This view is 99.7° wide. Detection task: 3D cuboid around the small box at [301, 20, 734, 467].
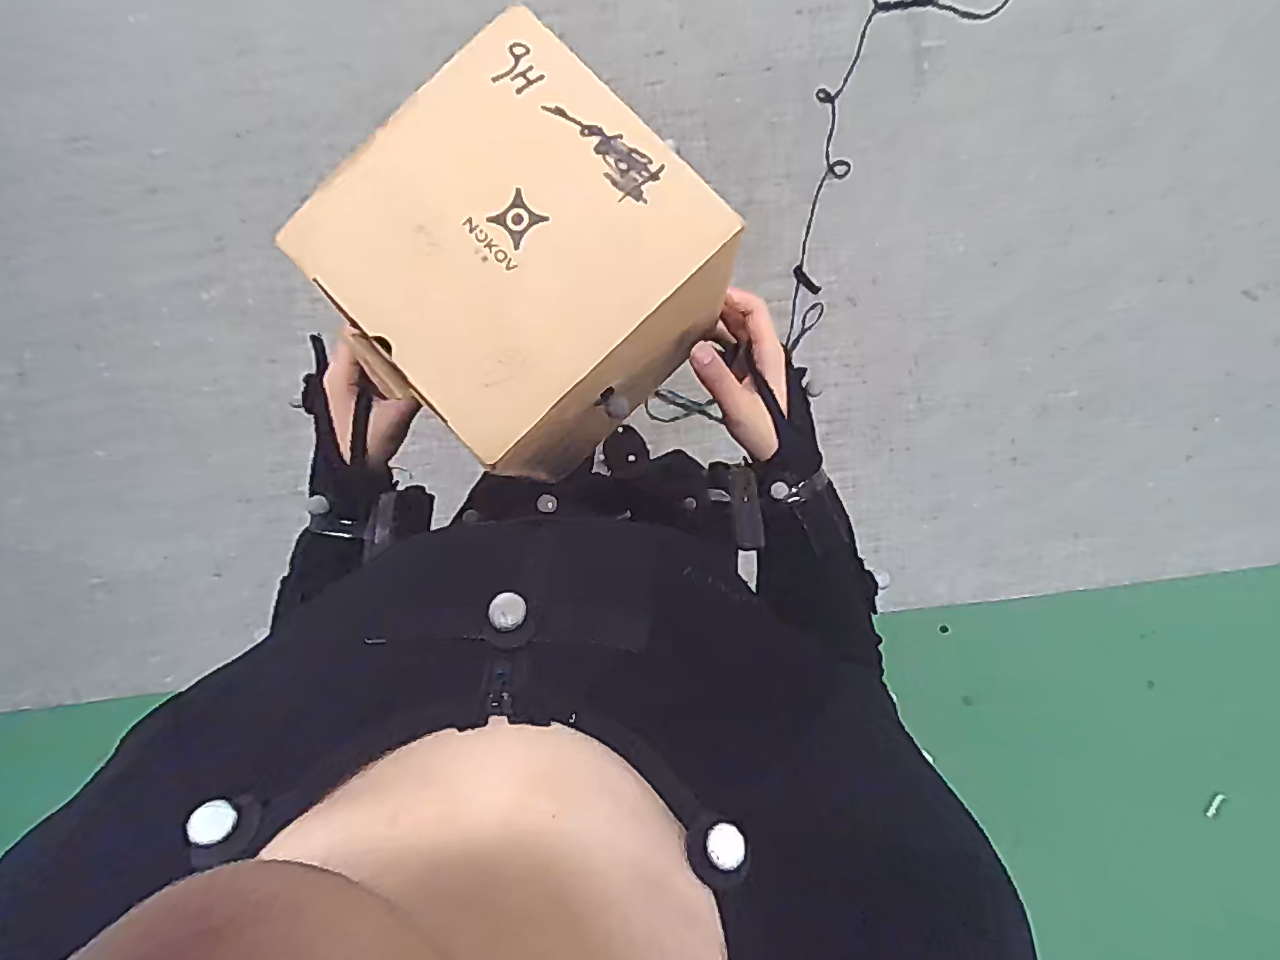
[{"bbox_3d":[-0.061,-0.123,0.360,0.179,0.176,0.168,-44,86,0],"label":"small box"}]
